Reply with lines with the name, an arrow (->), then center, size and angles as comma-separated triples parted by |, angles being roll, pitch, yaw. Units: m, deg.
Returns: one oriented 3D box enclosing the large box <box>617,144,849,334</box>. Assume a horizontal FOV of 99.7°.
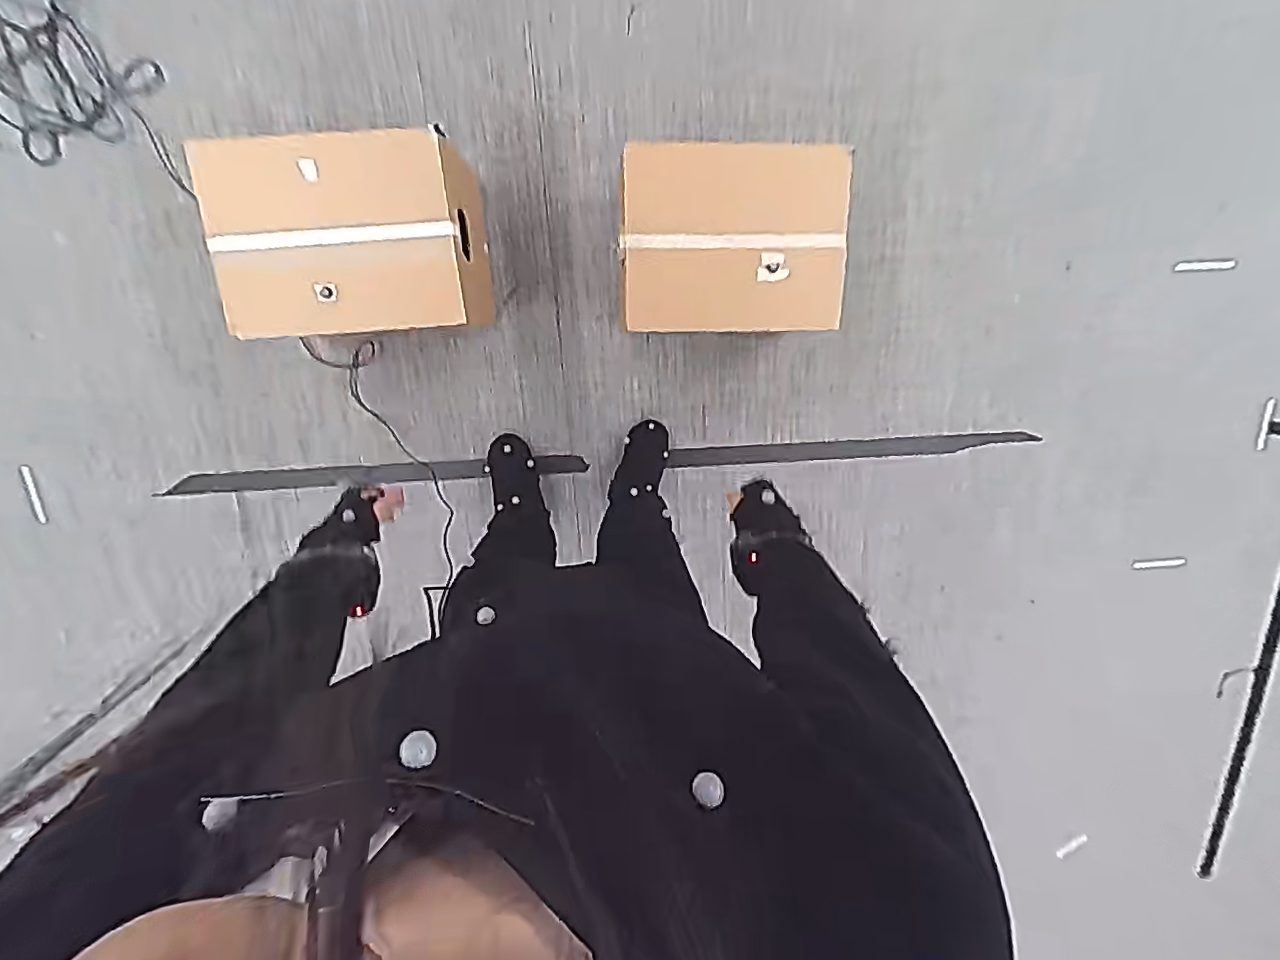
large box -> 0.162, -0.469, 1.122 | 0.408, 0.320, 0.320 | -1, 105, -5
